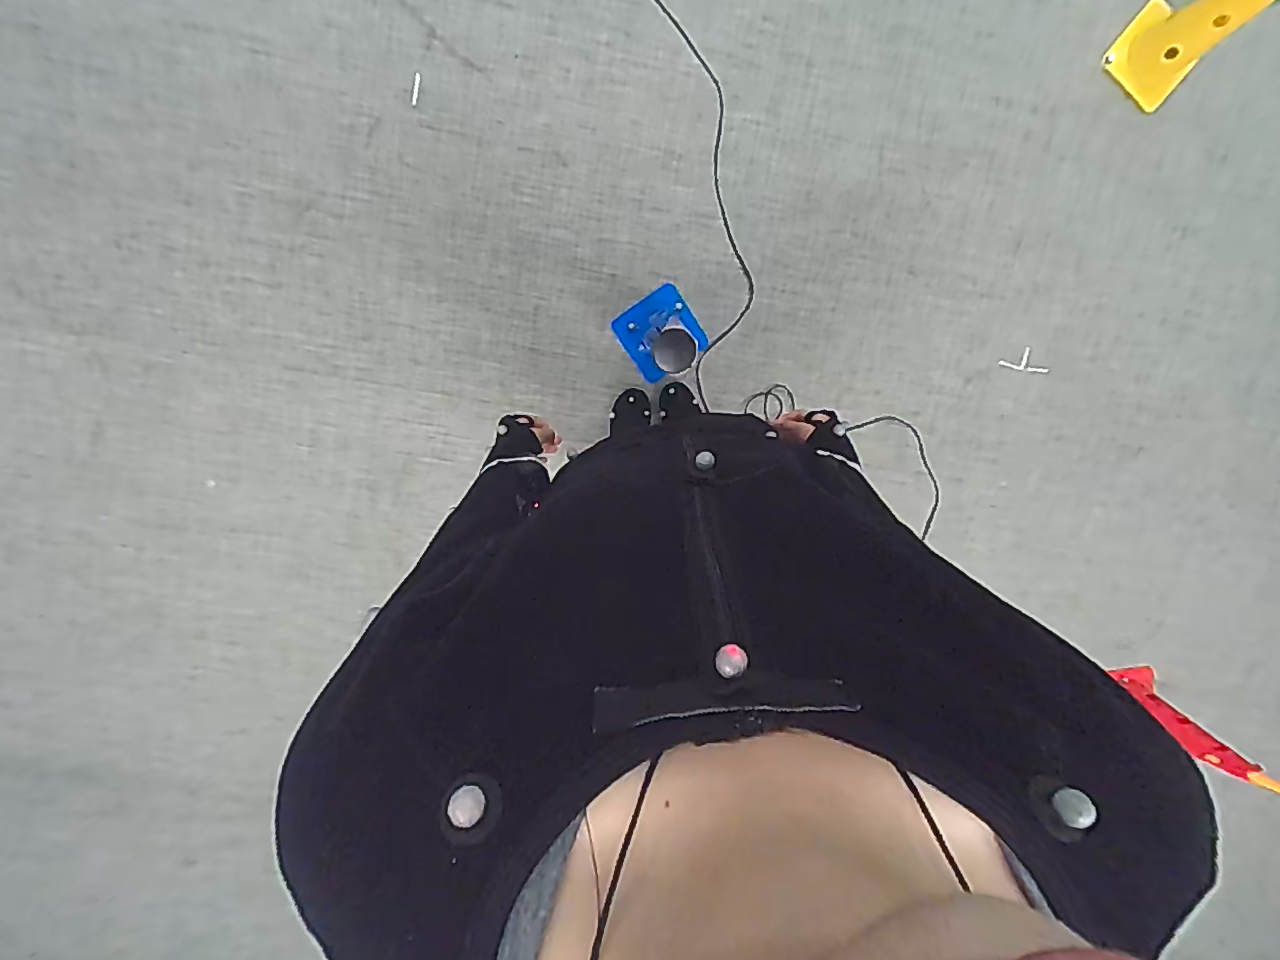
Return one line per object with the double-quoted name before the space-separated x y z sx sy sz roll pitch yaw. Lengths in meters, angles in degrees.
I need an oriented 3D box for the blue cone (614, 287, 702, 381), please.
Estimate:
"blue cone" 0.055 -0.346 1.257 0.193 0.380 0.192 -35 100 5
